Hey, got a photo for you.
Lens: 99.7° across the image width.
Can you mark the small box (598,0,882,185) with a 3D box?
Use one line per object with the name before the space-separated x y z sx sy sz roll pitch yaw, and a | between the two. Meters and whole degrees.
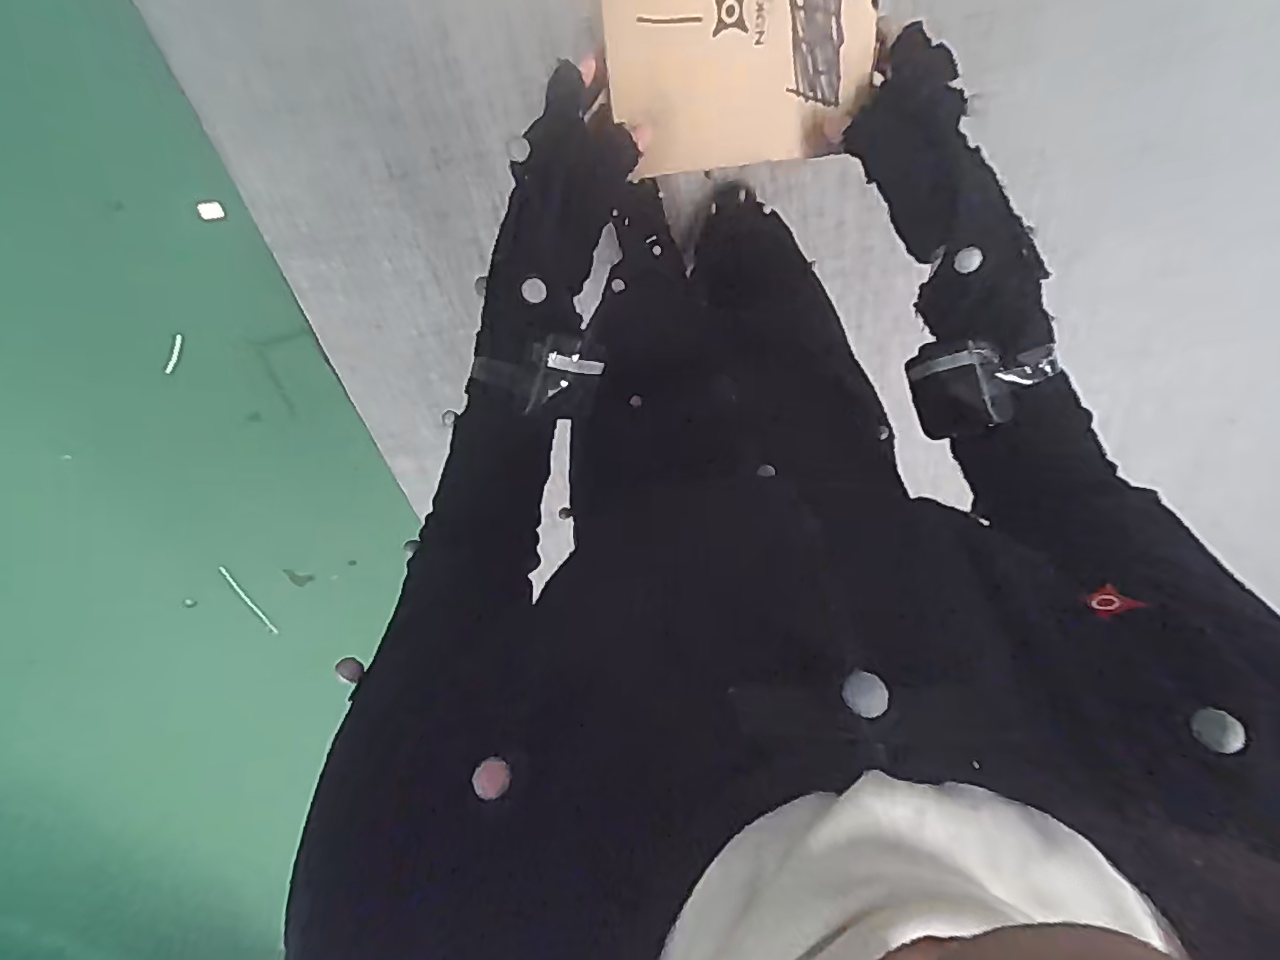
small box | 0.061 -0.332 0.405 0.179 0.176 0.168 -6 125 1
